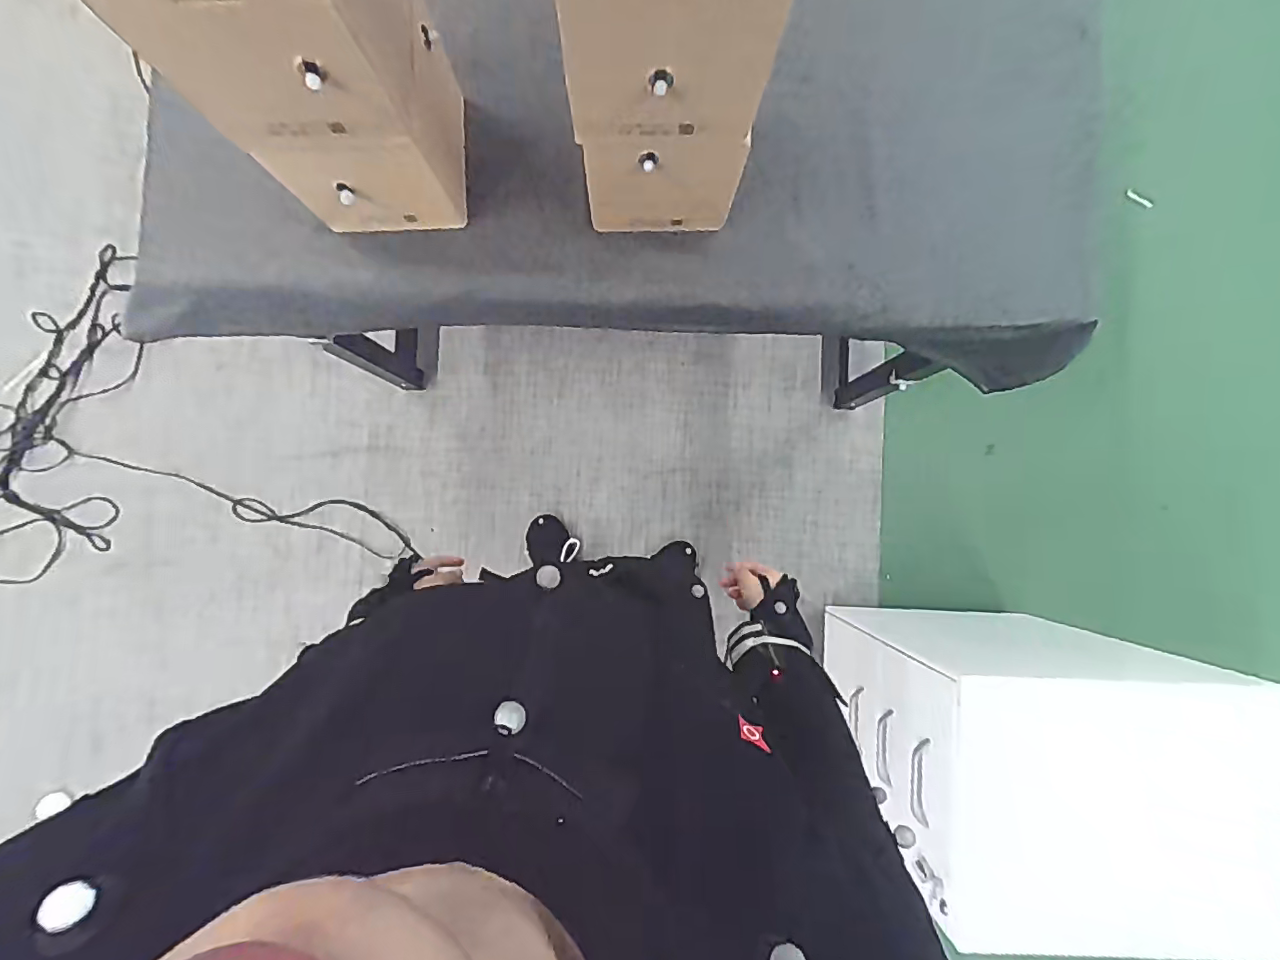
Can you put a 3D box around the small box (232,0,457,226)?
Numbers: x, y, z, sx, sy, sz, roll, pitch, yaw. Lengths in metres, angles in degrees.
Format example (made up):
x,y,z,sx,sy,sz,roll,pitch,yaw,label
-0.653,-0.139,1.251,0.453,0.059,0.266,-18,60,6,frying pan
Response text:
x,y,z,sx,sy,sz,roll,pitch,yaw,label
-0.307,-0.399,0.593,0.168,0.176,0.179,-3,87,-2,small box

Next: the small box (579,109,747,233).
x,y,z,sx,sy,sz,roll,pitch,yaw,label
0.018,-0.405,0.605,0.168,0.176,0.179,-1,87,-2,small box

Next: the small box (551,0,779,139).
x,y,z,sx,sy,sz,roll,pitch,yaw,label
0.017,-0.411,0.439,0.168,0.176,0.179,-1,87,-3,small box
